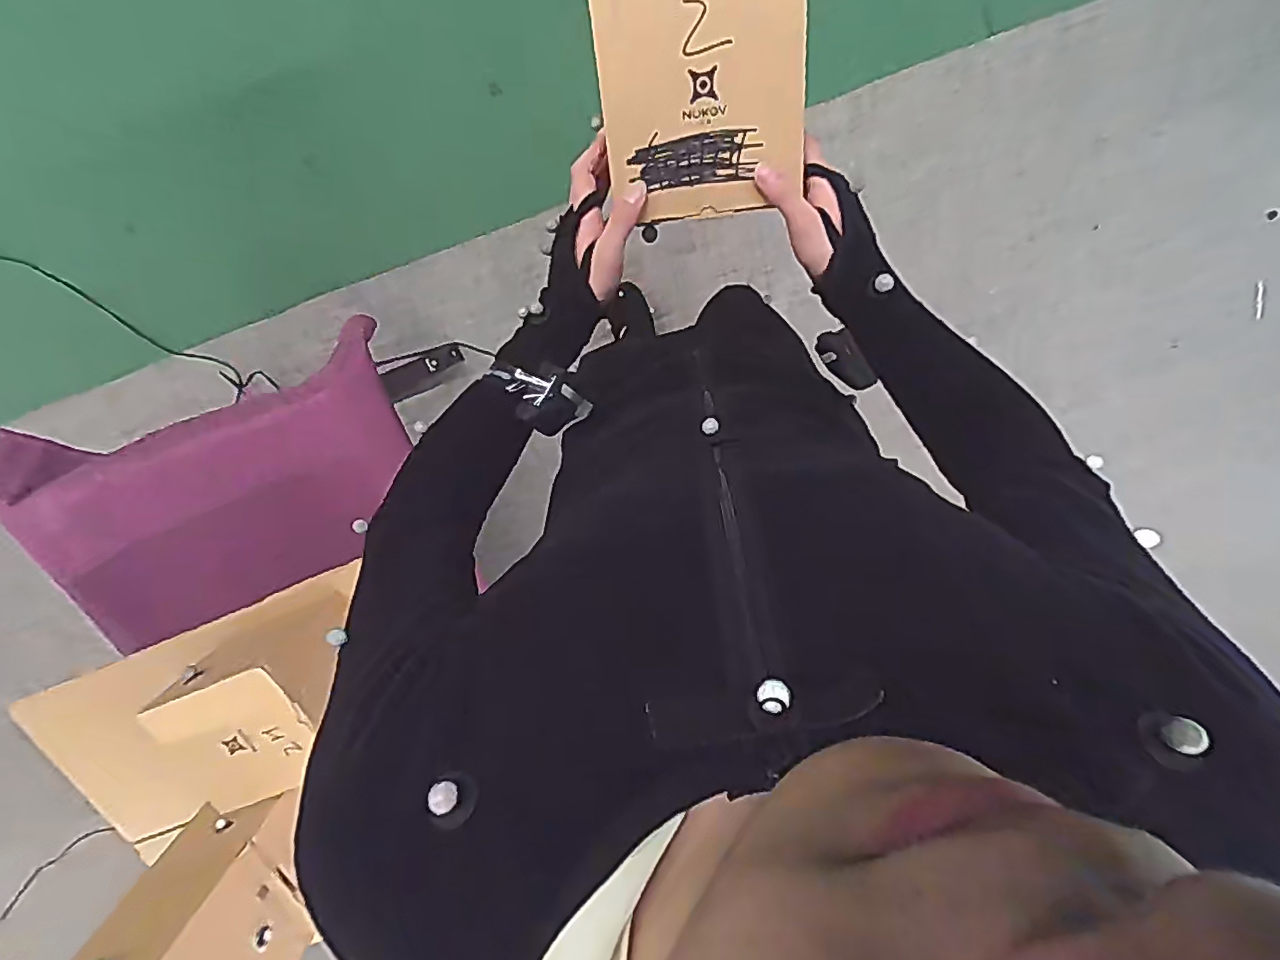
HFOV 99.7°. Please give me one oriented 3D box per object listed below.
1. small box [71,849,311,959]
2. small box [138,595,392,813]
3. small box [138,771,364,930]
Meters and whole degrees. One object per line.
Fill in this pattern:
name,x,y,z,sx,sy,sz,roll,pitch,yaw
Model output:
small box,-0.536,0.578,0.625,0.179,0.176,0.168,-24,105,5
small box,-0.466,0.281,0.705,0.179,0.176,0.168,-22,107,5
small box,-0.533,0.526,0.779,0.179,0.176,0.168,-22,106,6
